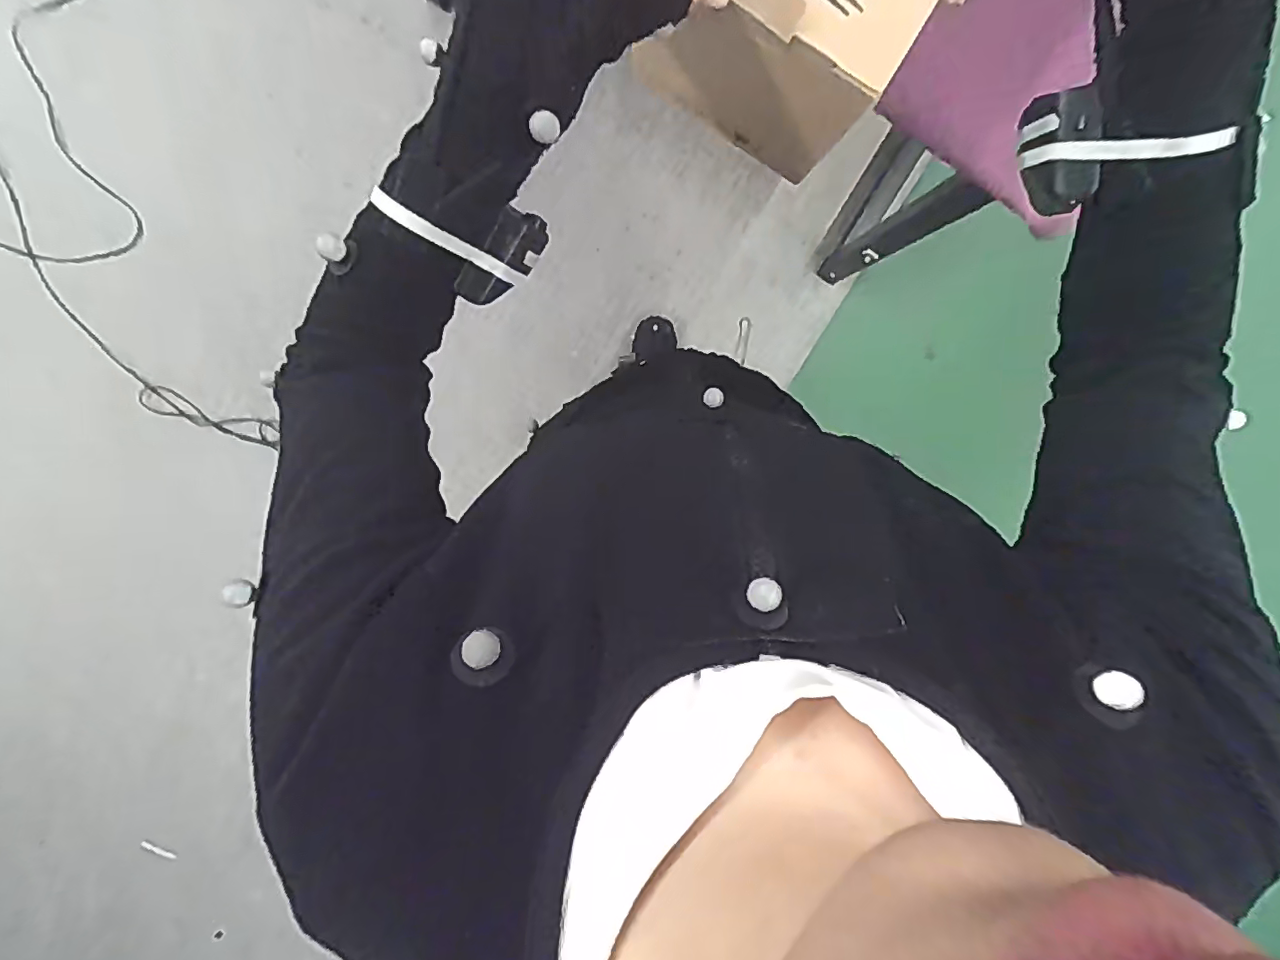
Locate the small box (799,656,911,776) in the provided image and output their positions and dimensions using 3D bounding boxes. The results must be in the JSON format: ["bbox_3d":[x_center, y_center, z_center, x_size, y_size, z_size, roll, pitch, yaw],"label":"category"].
[{"bbox_3d":[0.519,0.577,1.341,0.168,0.176,0.179,33,96,-7],"label":"small box"}]

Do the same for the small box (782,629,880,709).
[{"bbox_3d":[0.518,0.552,1.503,0.168,0.176,0.179,32,97,-8],"label":"small box"}]
